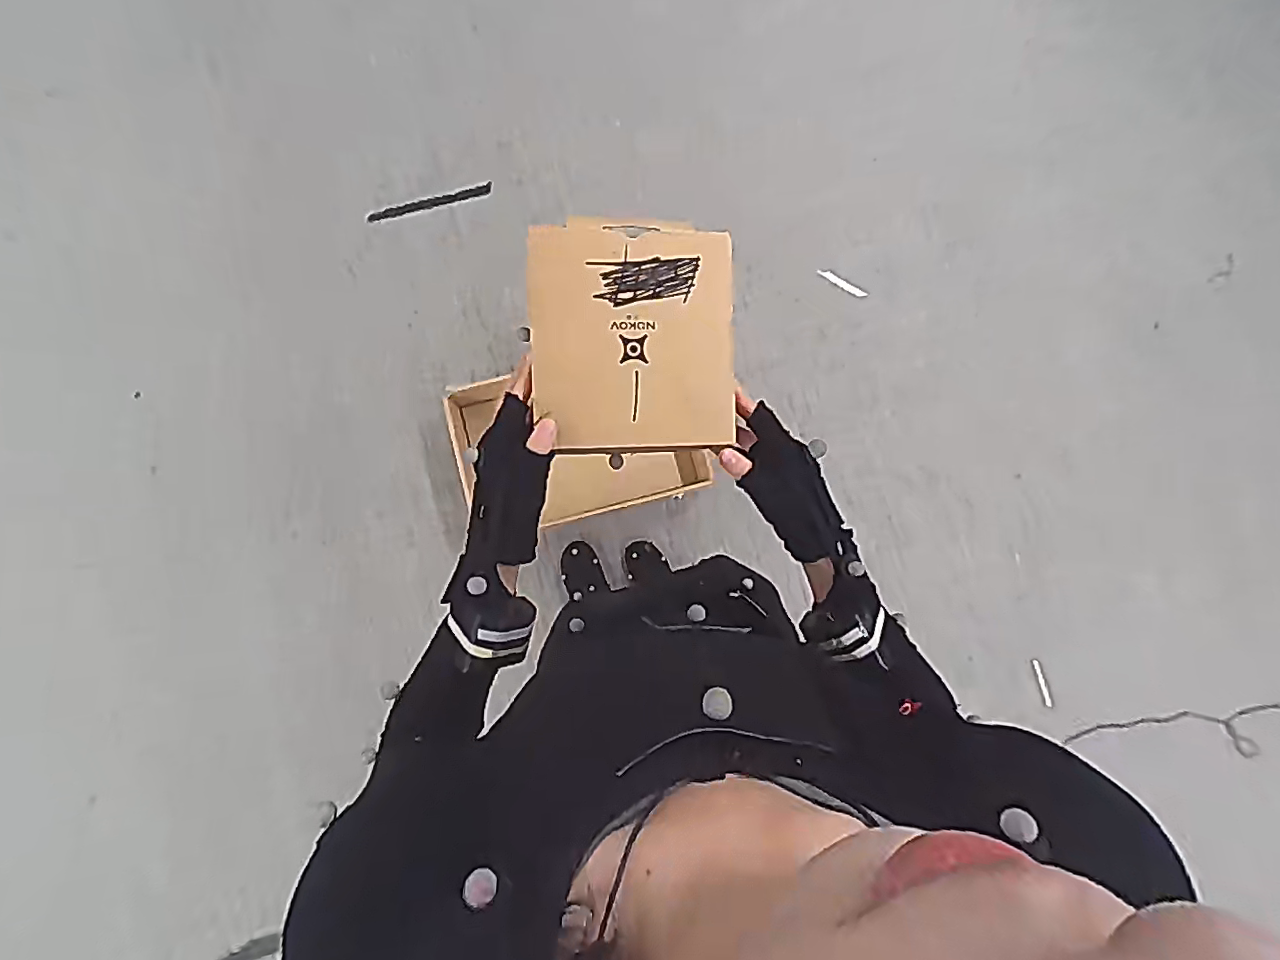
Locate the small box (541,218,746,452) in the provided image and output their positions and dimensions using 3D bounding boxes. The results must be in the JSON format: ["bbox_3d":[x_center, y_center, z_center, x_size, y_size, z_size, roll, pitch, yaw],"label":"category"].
[{"bbox_3d":[-0.008,-0.118,0.506,0.168,0.176,0.179,-2,92,-8],"label":"small box"}]
